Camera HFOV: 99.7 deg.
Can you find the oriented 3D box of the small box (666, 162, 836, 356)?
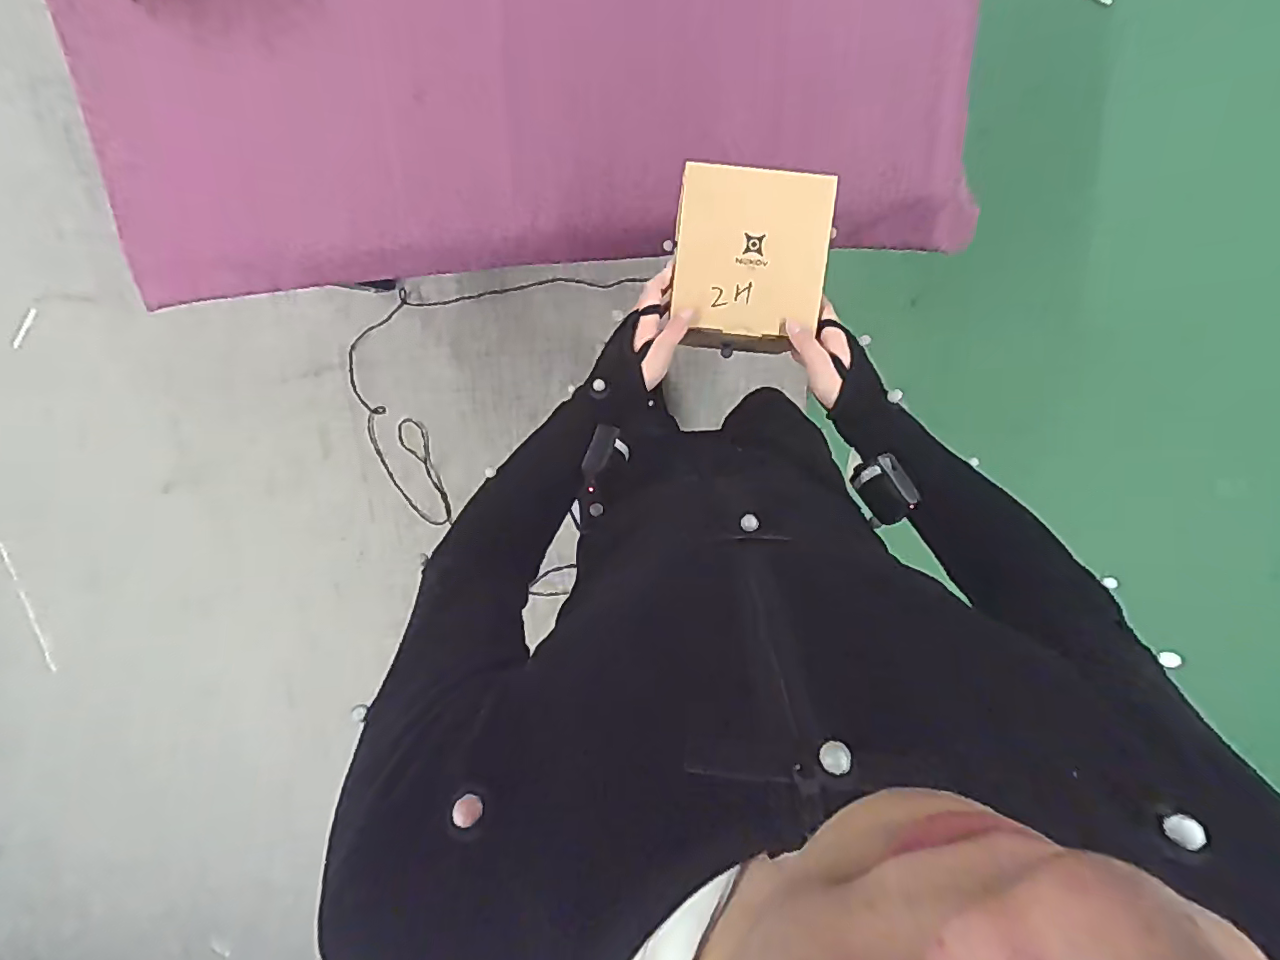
[{"bbox_3d":[0.123,-0.258,0.670,0.168,0.176,0.179,6,98,1],"label":"small box"}]
